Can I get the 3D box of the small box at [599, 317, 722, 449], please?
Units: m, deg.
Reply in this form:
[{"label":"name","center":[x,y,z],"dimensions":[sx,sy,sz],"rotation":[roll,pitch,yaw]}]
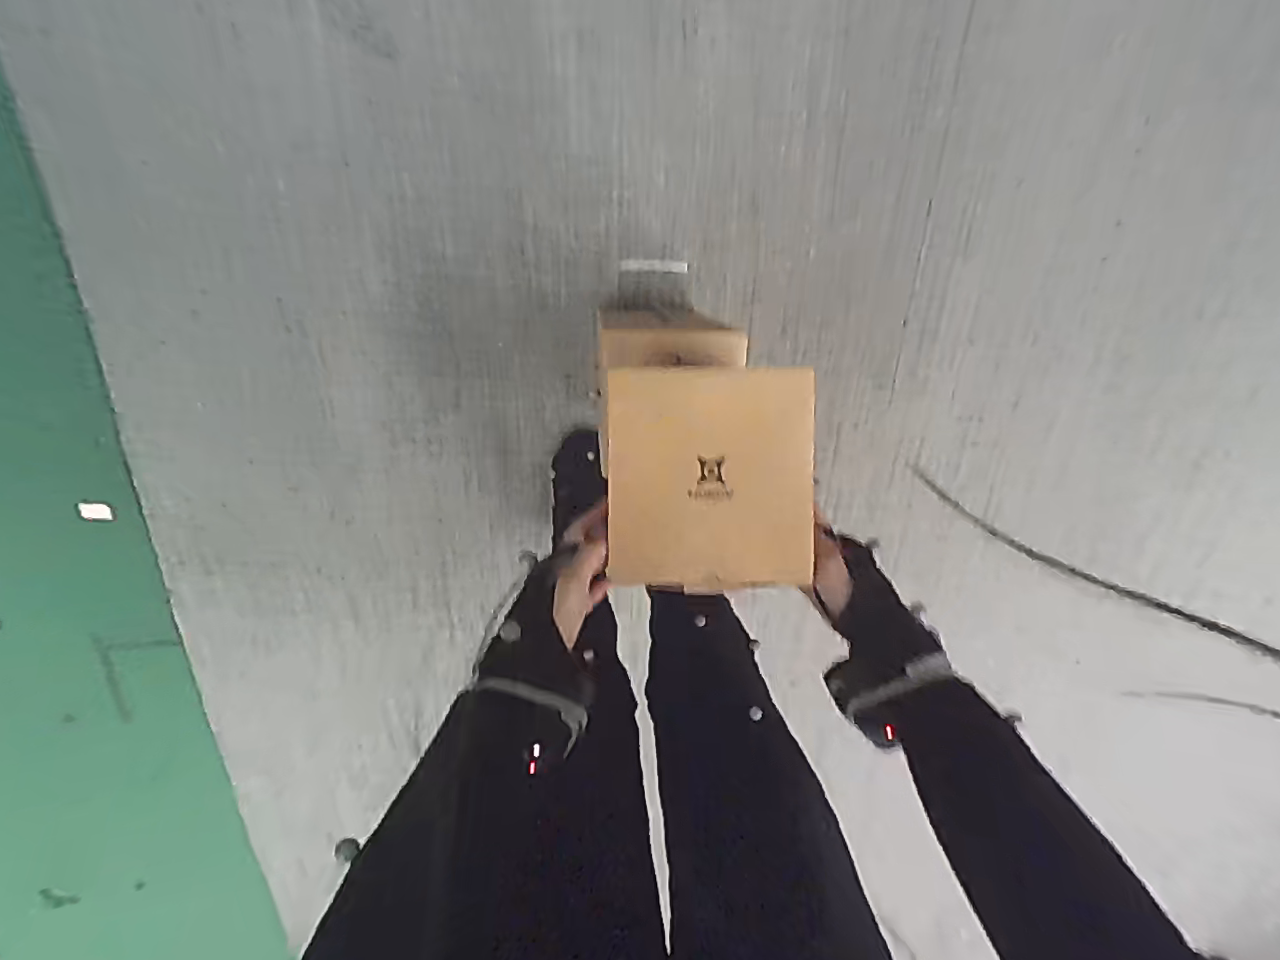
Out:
[{"label":"small box","center":[0.022,-0.158,0.851],"dimensions":[0.168,0.176,0.179],"rotation":[1,112,-5]}]
